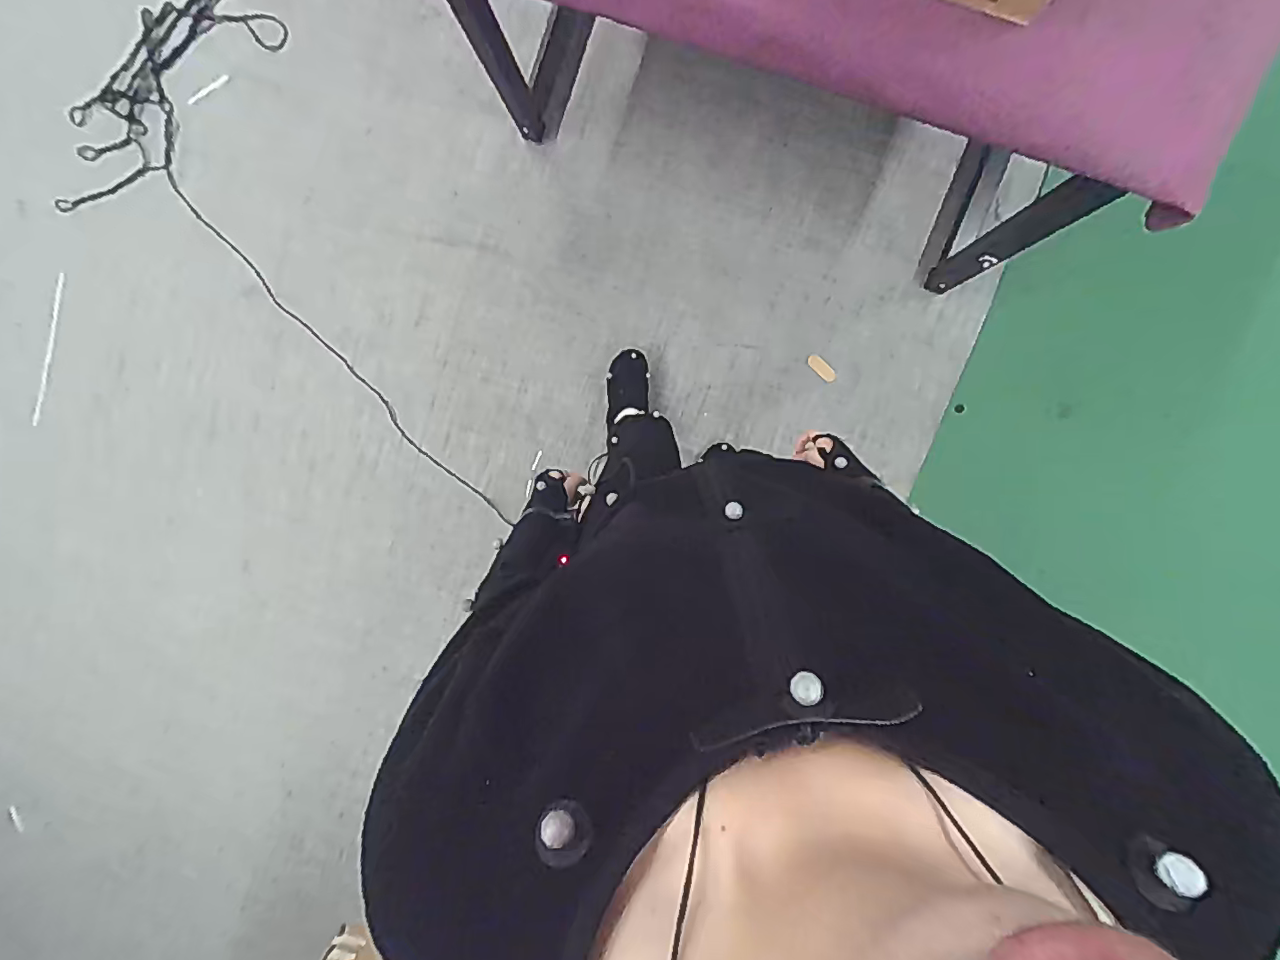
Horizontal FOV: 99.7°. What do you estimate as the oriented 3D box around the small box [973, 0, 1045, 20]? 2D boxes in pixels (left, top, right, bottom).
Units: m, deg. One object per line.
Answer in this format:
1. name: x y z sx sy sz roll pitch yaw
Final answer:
1. small box: 0.441 -0.675 0.598 0.168 0.176 0.179 22 95 2
